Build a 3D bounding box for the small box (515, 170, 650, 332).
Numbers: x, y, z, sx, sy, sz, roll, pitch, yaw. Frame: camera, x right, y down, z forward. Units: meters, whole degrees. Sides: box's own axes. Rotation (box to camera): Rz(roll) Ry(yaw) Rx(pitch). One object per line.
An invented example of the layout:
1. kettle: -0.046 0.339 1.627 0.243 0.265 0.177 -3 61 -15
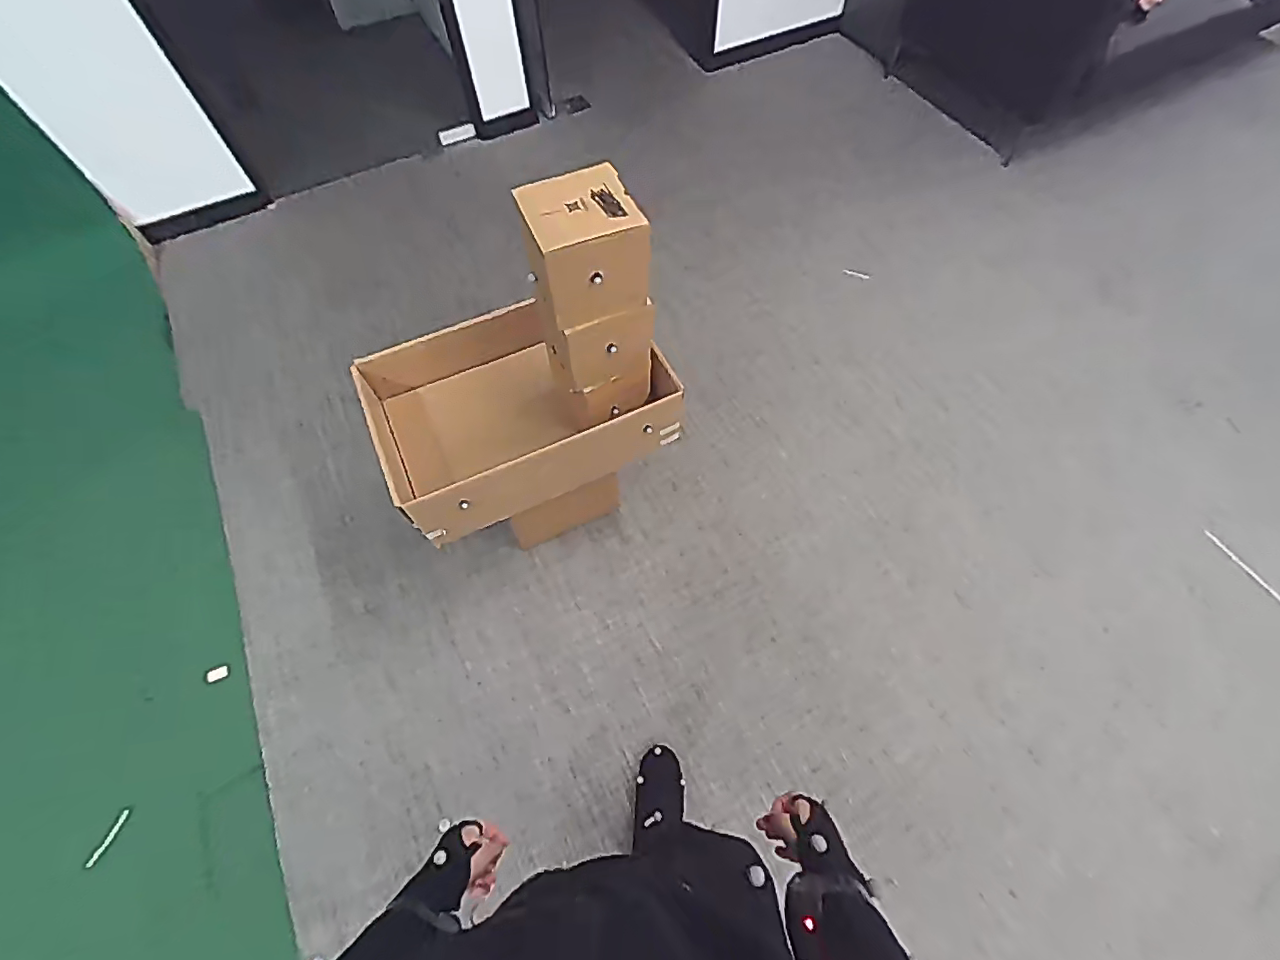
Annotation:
1. small box: -0.094 -0.387 0.926 0.179 0.176 0.168 -21 64 -10
